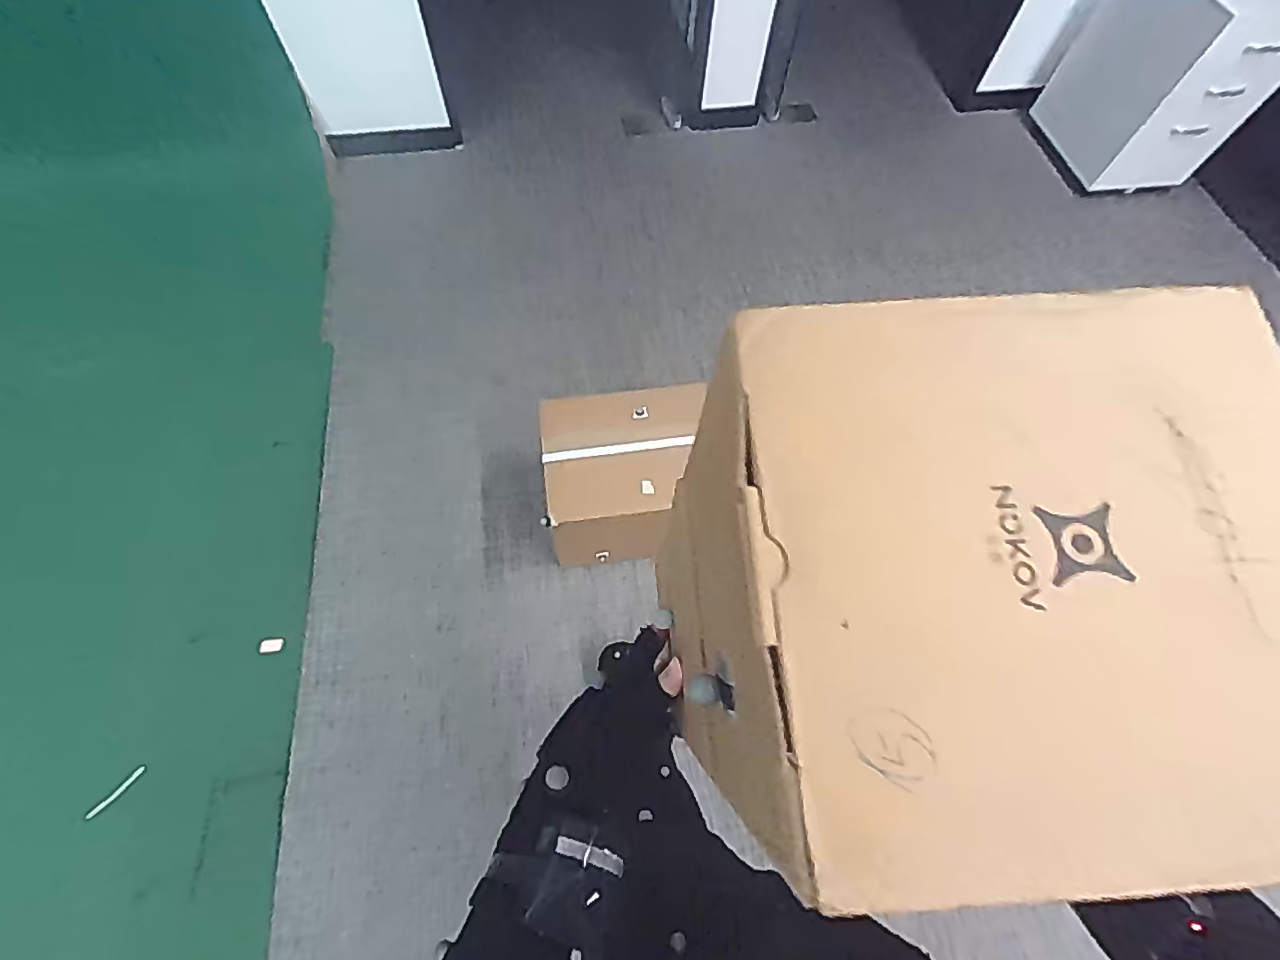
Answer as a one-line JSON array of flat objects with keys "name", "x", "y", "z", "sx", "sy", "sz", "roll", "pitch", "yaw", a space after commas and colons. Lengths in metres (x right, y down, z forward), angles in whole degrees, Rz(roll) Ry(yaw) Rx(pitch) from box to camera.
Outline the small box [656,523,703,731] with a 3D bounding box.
[{"name": "small box", "x": 0.104, "y": 0.141, "z": 0.545, "sx": 0.168, "sy": 0.176, "sz": 0.179, "roll": -4, "pitch": 72, "yaw": -1}]
